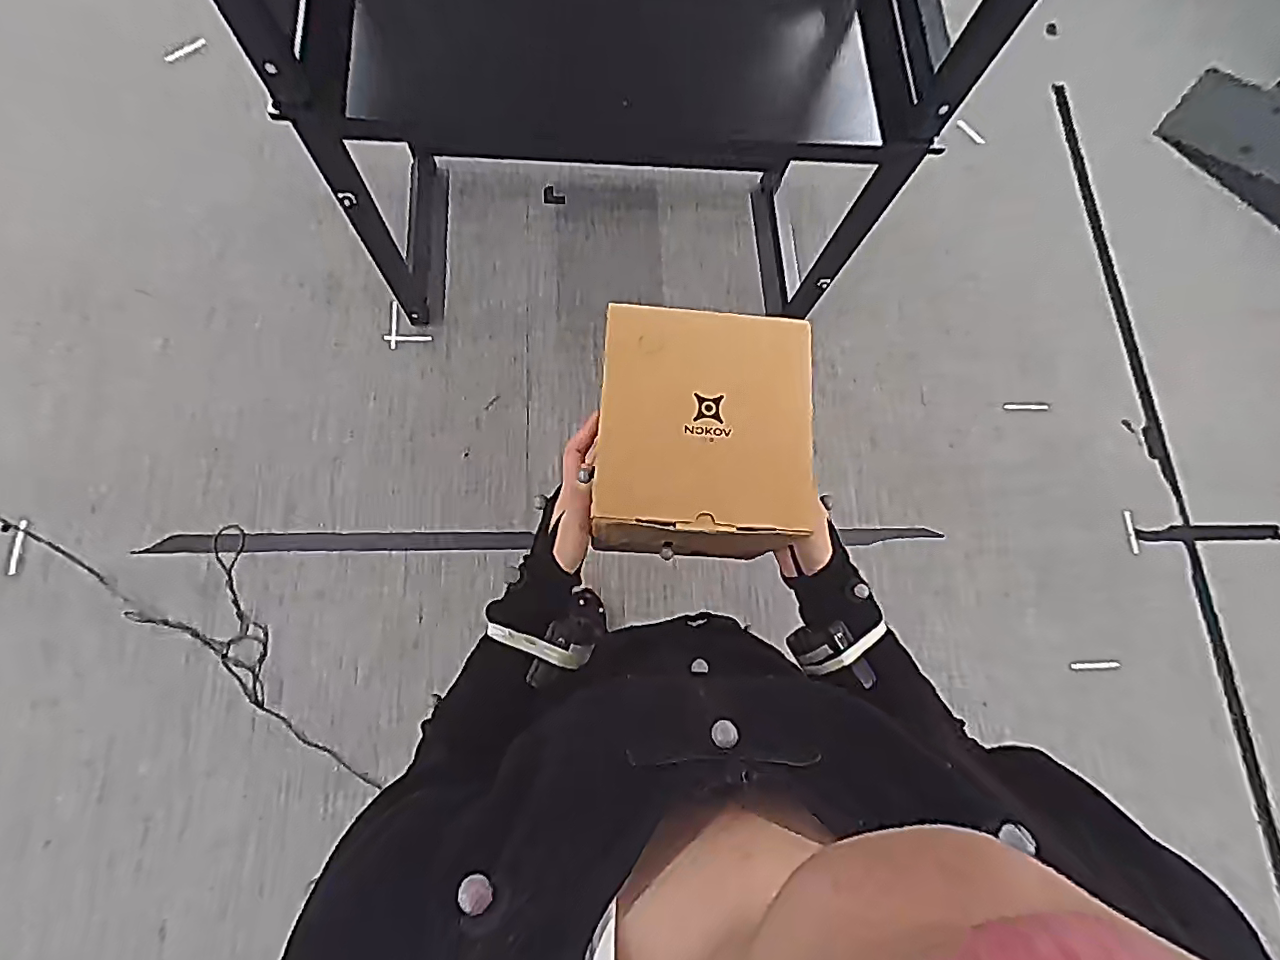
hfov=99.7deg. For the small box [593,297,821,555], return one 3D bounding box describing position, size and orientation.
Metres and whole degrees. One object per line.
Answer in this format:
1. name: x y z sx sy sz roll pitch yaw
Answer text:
1. small box: 0.047 -0.034 0.481 0.168 0.176 0.179 4 76 -4
